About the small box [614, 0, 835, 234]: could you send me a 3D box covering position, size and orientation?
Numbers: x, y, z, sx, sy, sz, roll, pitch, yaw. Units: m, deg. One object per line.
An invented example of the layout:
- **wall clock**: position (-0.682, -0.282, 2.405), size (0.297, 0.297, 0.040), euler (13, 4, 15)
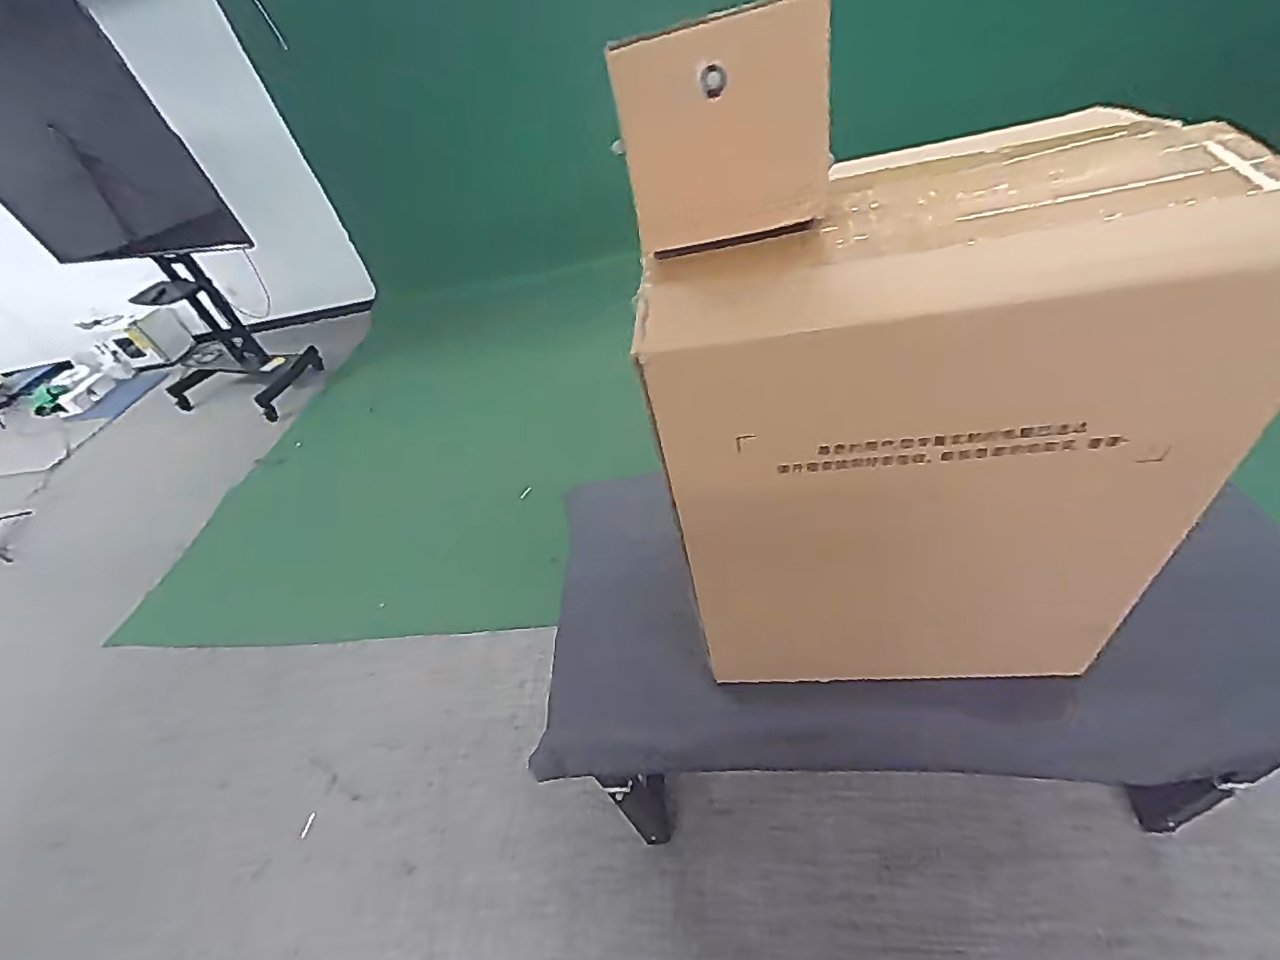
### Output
- **small box**: position (0.083, -0.350, 0.521), size (0.179, 0.176, 0.168), euler (-6, 37, 8)
